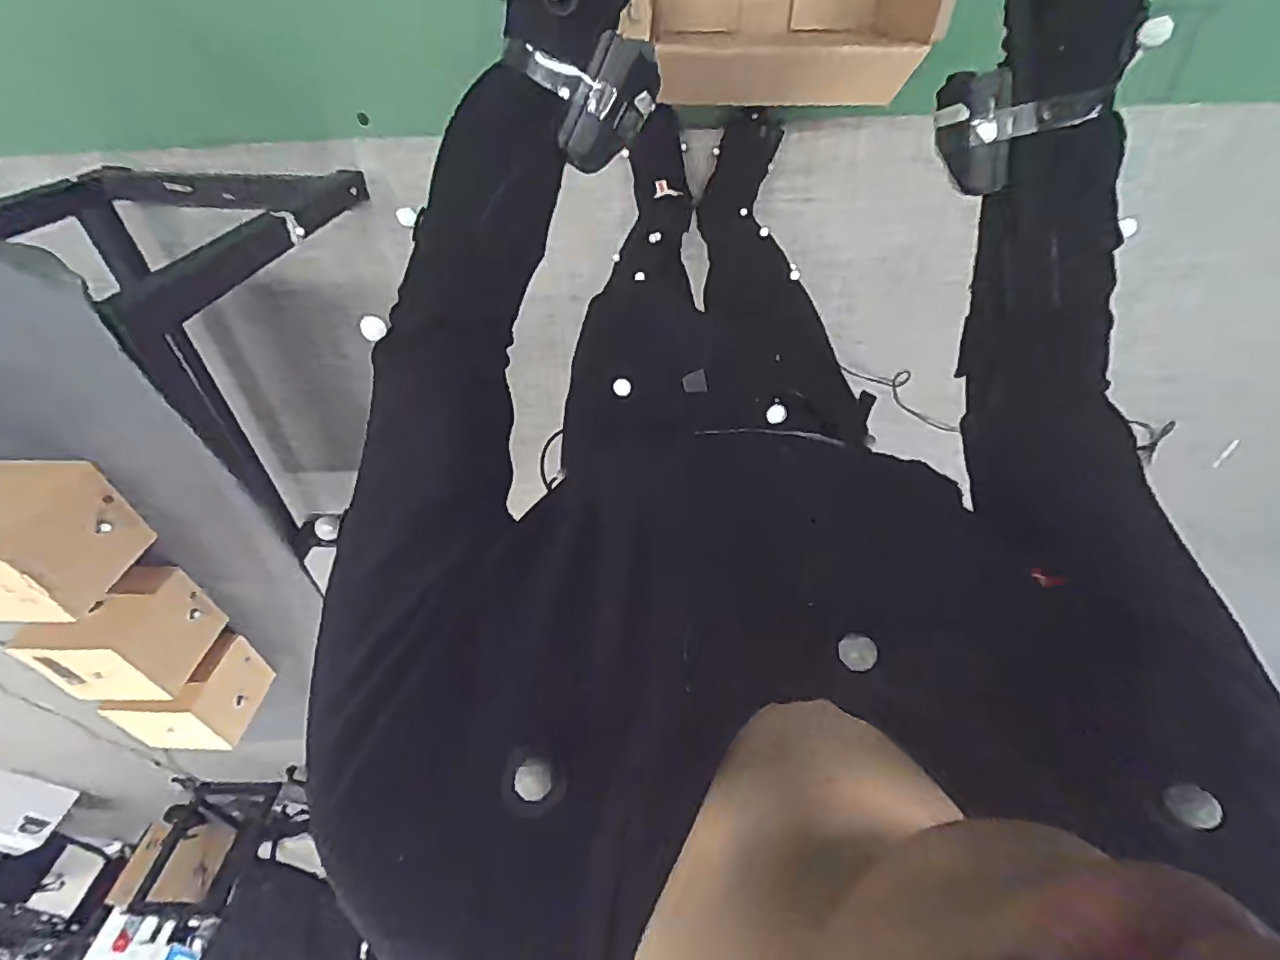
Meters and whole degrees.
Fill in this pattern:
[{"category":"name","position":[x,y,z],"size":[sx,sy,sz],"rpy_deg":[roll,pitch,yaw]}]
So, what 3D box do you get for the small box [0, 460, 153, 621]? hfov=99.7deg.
[{"category":"small box","position":[-0.883,0.083,0.780],"size":[0.179,0.176,0.168],"rpy_deg":[1,132,2]}]
